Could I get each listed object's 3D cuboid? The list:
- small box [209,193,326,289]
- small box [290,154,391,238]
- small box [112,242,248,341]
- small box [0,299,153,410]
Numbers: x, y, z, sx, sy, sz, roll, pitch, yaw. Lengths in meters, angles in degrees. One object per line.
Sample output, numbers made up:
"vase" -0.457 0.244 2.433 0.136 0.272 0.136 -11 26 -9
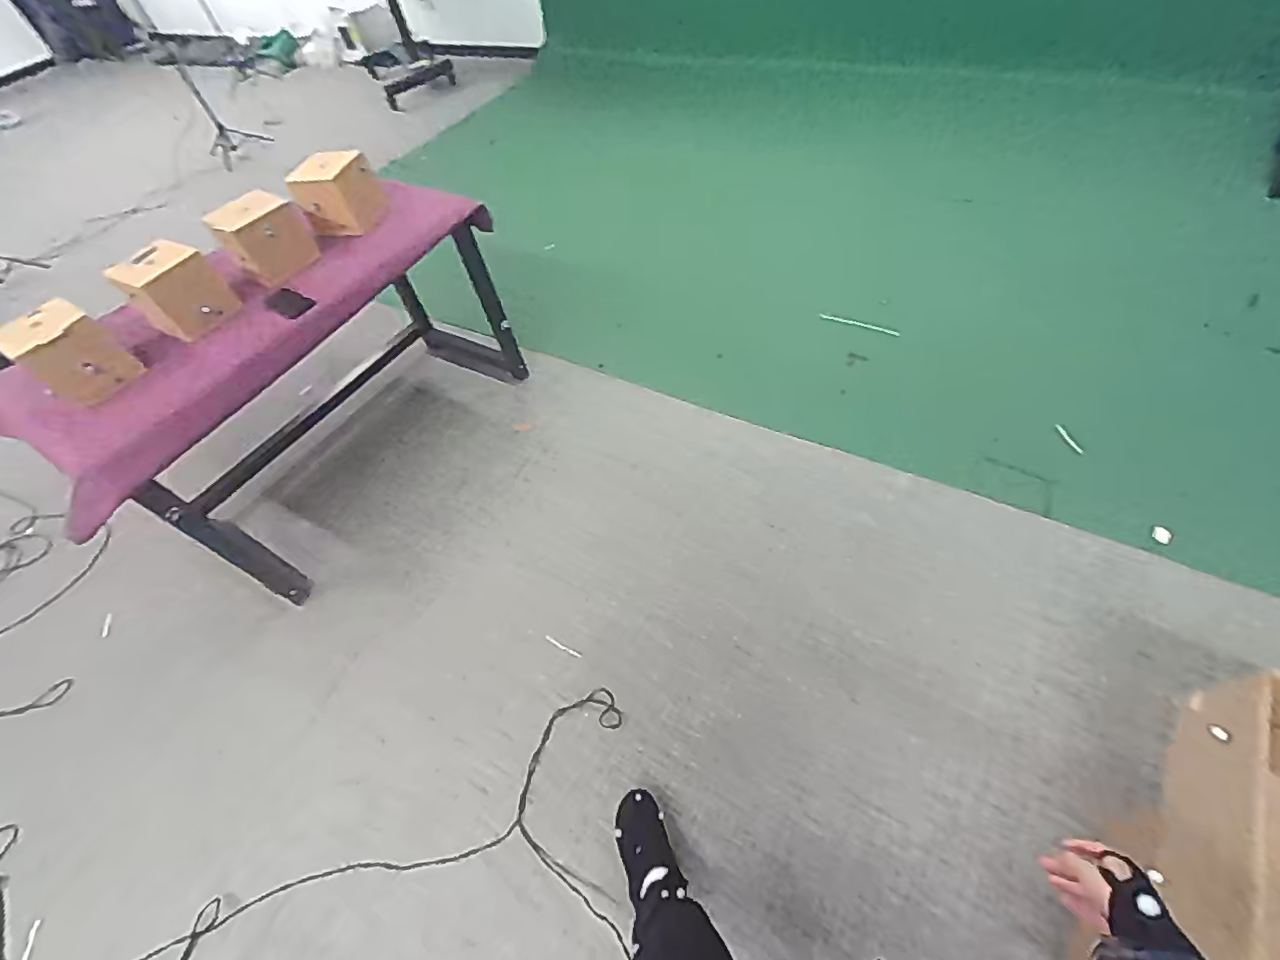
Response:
"small box" -1.033 -0.666 1.513 0.168 0.176 0.179 28 62 25
"small box" -0.886 -0.848 1.623 0.168 0.176 0.179 5 54 14
"small box" -1.182 -0.485 1.401 0.179 0.176 0.168 21 60 22
"small box" -1.327 -0.292 1.282 0.179 0.176 0.168 25 61 24
